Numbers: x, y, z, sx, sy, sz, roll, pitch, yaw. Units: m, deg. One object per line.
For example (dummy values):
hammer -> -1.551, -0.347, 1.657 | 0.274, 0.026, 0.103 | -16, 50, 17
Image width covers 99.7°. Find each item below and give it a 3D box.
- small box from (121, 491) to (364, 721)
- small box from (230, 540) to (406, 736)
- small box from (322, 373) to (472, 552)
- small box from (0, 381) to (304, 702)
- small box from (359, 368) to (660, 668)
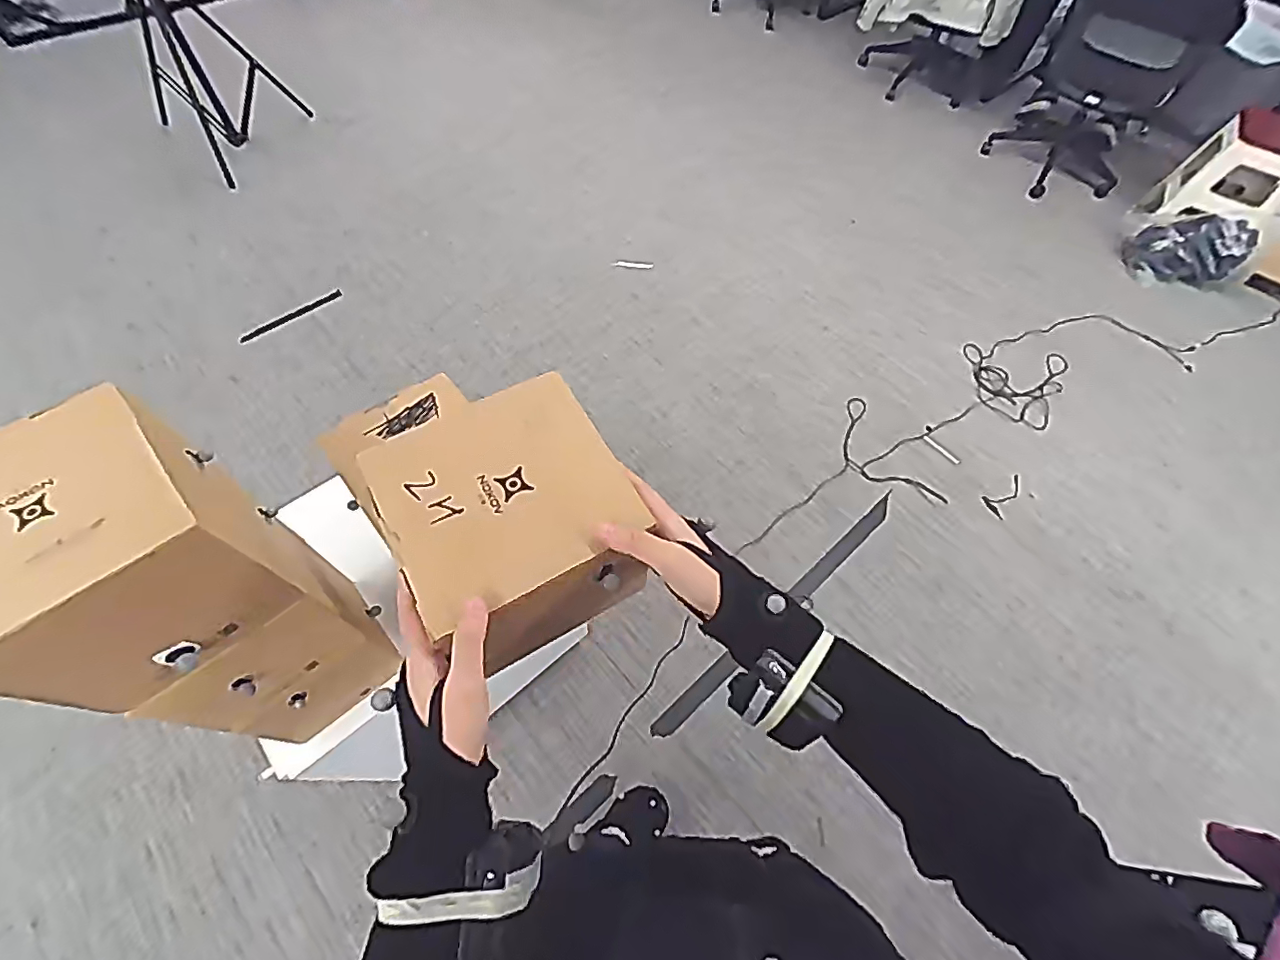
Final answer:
small box -> -0.441, 0.141, 0.592 | 0.168, 0.176, 0.179 | -38, 69, -22
small box -> -0.454, 0.220, 0.735 | 0.168, 0.176, 0.179 | -37, 68, -22
small box -> -0.251, 0.006, 0.679 | 0.168, 0.176, 0.179 | -35, 70, -21
small box -> -0.431, 0.059, 0.452 | 0.168, 0.176, 0.179 | -39, 70, -21
small box -> -0.103, 0.040, 0.472 | 0.179, 0.176, 0.168 | -27, 67, -15
